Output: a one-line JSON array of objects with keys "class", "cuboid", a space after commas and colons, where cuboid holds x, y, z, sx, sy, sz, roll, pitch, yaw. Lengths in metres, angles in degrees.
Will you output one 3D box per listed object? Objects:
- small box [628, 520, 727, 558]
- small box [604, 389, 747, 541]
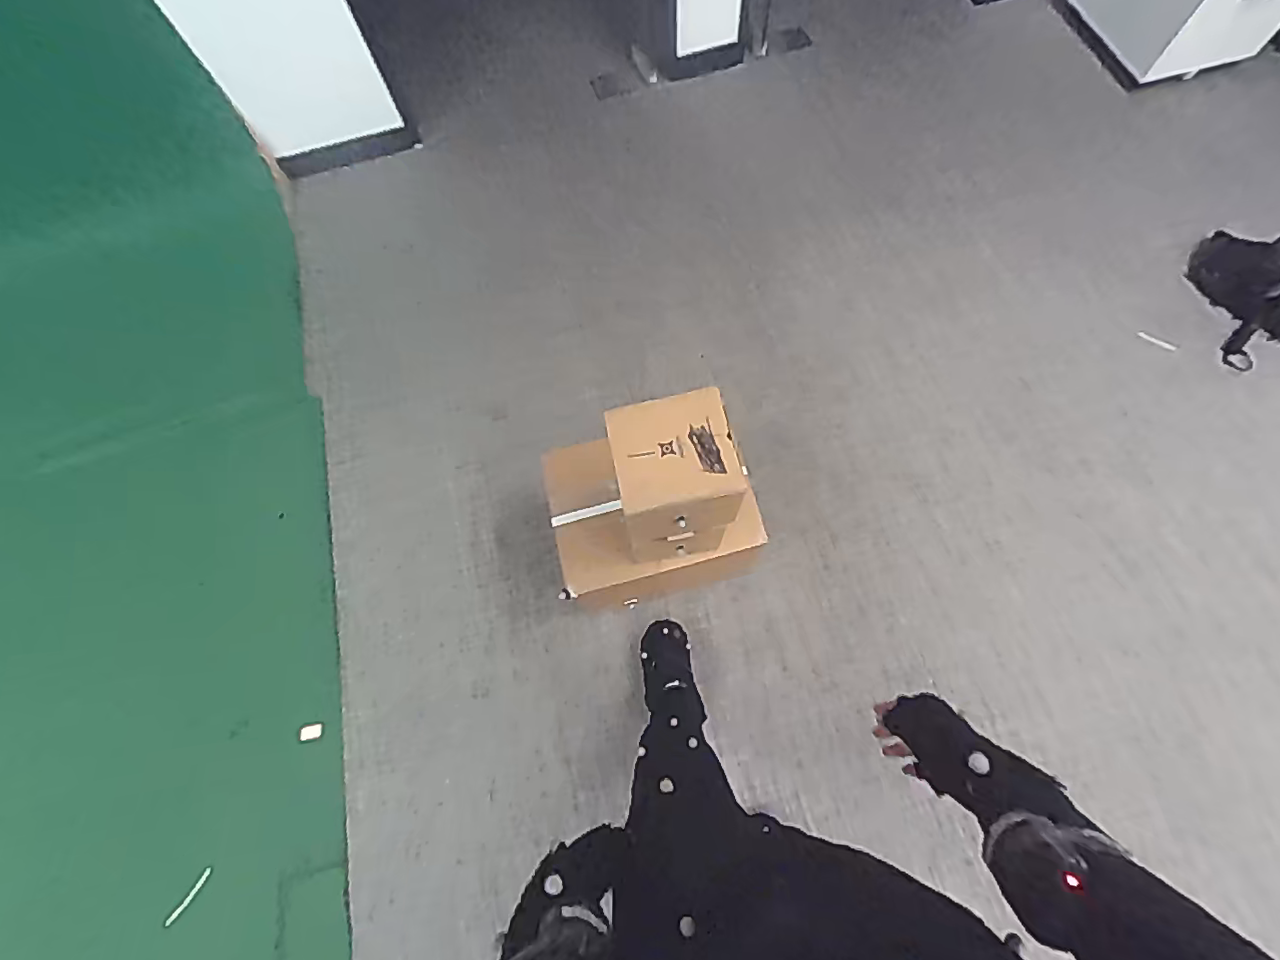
[{"class": "small box", "cuboid": [0.057, 0.039, 0.995, 0.168, 0.176, 0.179, -13, 71, 0]}, {"class": "small box", "cuboid": [0.052, -0.016, 0.839, 0.179, 0.176, 0.168, -13, 70, 0]}]
